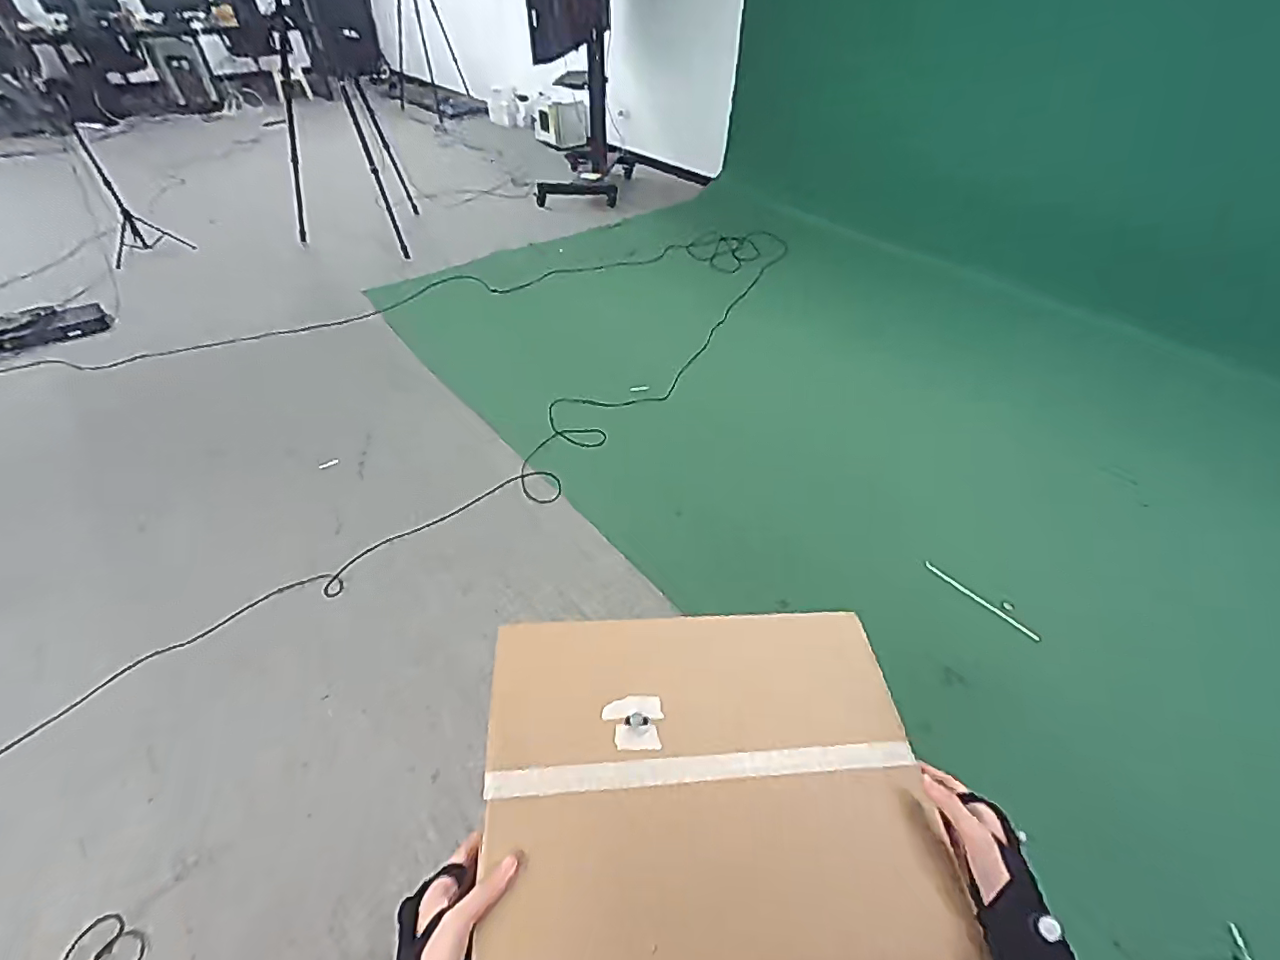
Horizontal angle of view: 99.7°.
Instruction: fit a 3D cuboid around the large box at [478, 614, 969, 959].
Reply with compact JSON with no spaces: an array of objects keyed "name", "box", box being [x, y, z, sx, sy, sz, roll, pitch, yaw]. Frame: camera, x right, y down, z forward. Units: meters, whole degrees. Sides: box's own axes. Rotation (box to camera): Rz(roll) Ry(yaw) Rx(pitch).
[{"name":"large box","box":[0.051,0.377,0.624,0.408,0.320,0.320,-1,47,-7]}]
